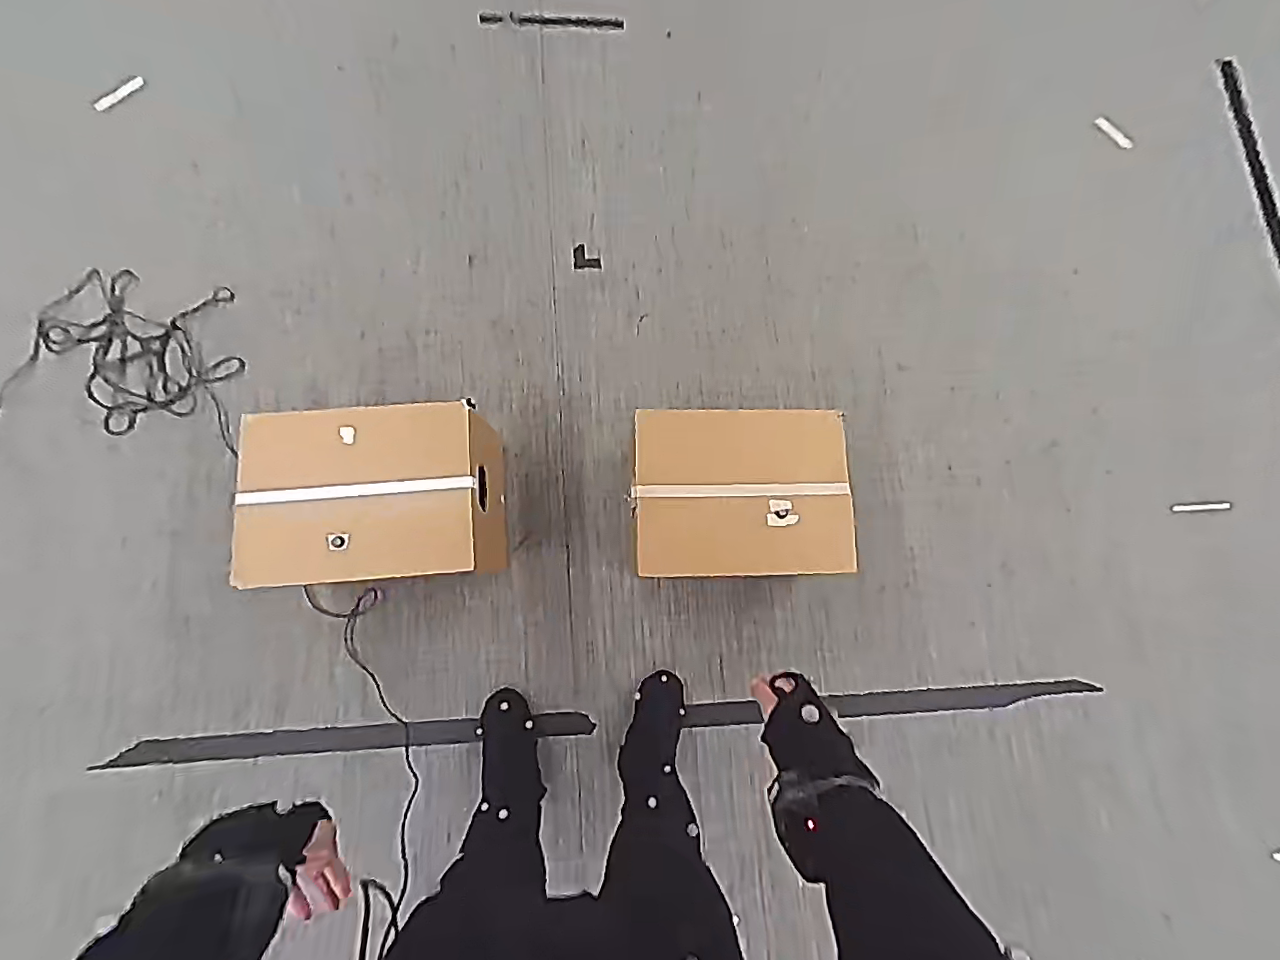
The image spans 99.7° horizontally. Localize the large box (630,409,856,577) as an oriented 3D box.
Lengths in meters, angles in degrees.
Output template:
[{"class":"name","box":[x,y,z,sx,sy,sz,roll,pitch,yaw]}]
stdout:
[{"class":"large box","box":[0.188,0.043,1.158,0.408,0.320,0.320,0,80,-4]}]
